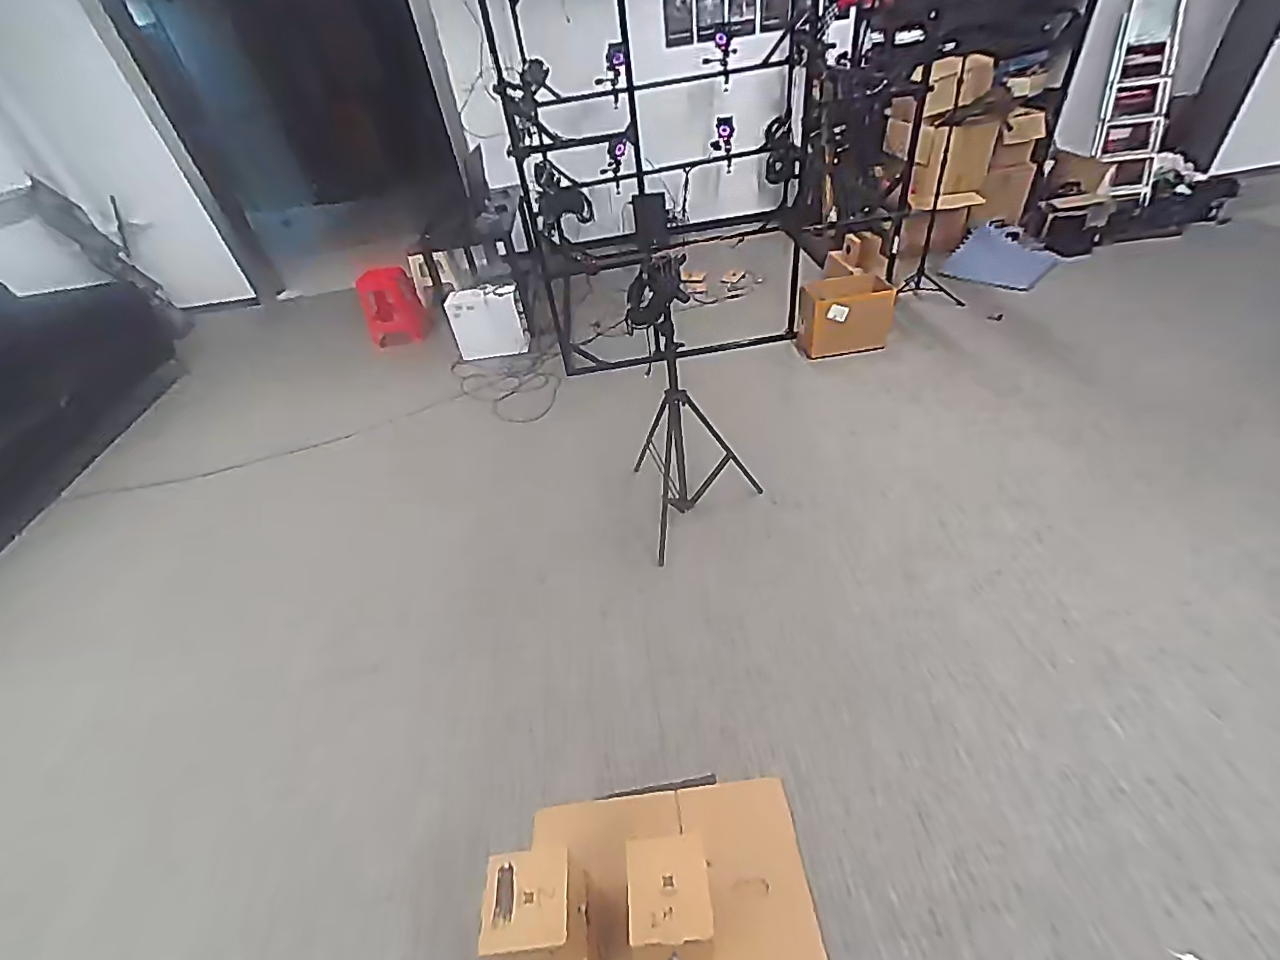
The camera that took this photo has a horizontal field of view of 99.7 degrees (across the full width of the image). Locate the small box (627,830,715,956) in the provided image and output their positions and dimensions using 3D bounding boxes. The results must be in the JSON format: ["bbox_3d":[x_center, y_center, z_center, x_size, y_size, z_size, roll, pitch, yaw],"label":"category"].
[{"bbox_3d":[0.064,0.869,1.138,0.168,0.176,0.179,-7,41,2],"label":"small box"}]

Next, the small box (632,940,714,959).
[{"bbox_3d":[0.074,0.996,1.244,0.179,0.176,0.168,-7,41,2],"label":"small box"}]

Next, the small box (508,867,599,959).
[{"bbox_3d":[-0.191,1.026,1.254,0.179,0.176,0.168,-9,40,2],"label":"small box"}]
